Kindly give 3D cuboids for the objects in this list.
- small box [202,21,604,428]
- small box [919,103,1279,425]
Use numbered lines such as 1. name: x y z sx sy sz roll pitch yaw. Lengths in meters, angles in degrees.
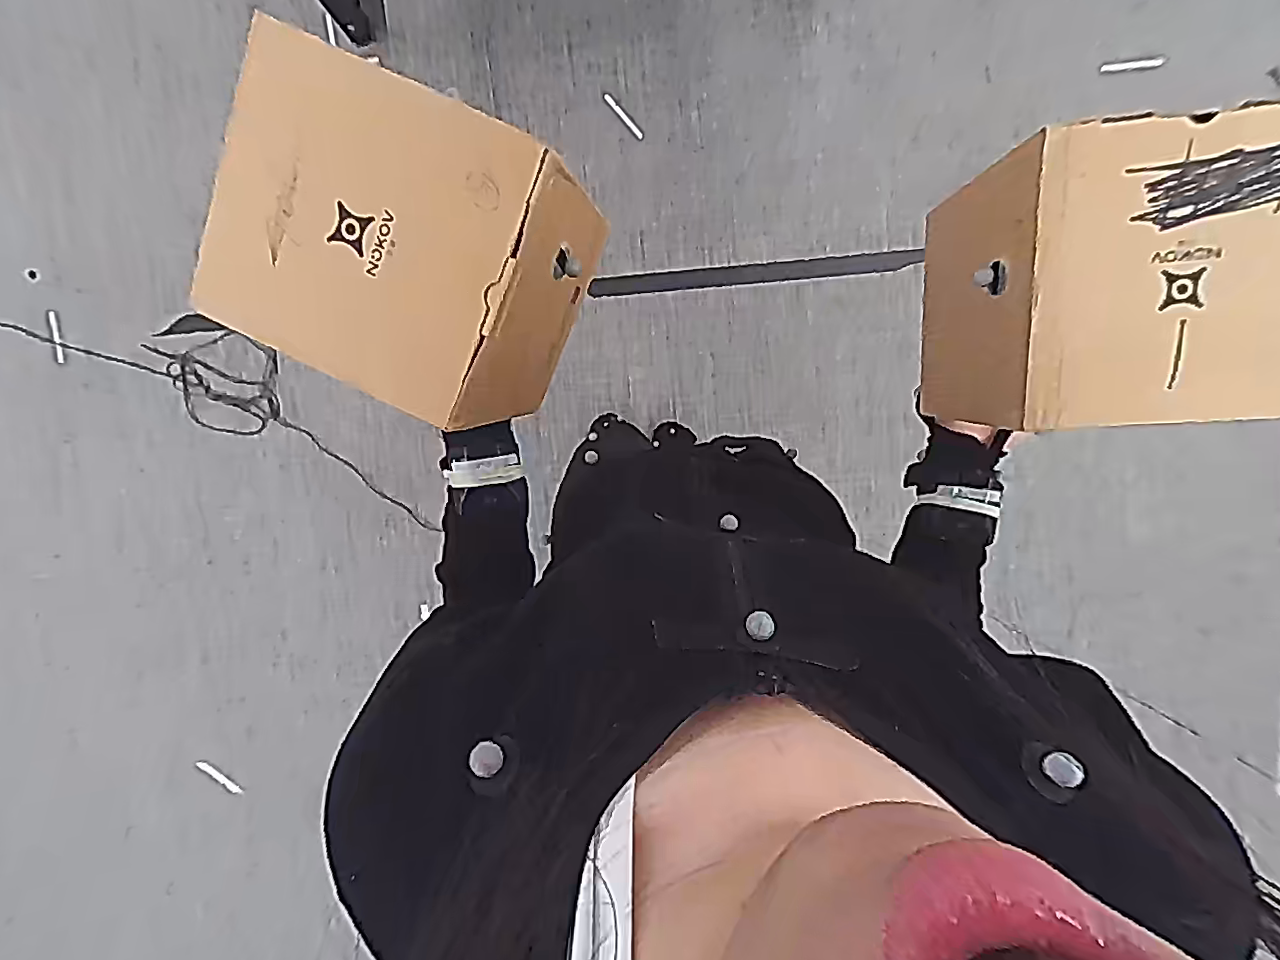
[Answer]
1. small box: -0.142 -0.153 0.380 0.179 0.176 0.168 25 103 3
2. small box: 0.322 -0.136 0.395 0.168 0.176 0.179 -2 101 7
